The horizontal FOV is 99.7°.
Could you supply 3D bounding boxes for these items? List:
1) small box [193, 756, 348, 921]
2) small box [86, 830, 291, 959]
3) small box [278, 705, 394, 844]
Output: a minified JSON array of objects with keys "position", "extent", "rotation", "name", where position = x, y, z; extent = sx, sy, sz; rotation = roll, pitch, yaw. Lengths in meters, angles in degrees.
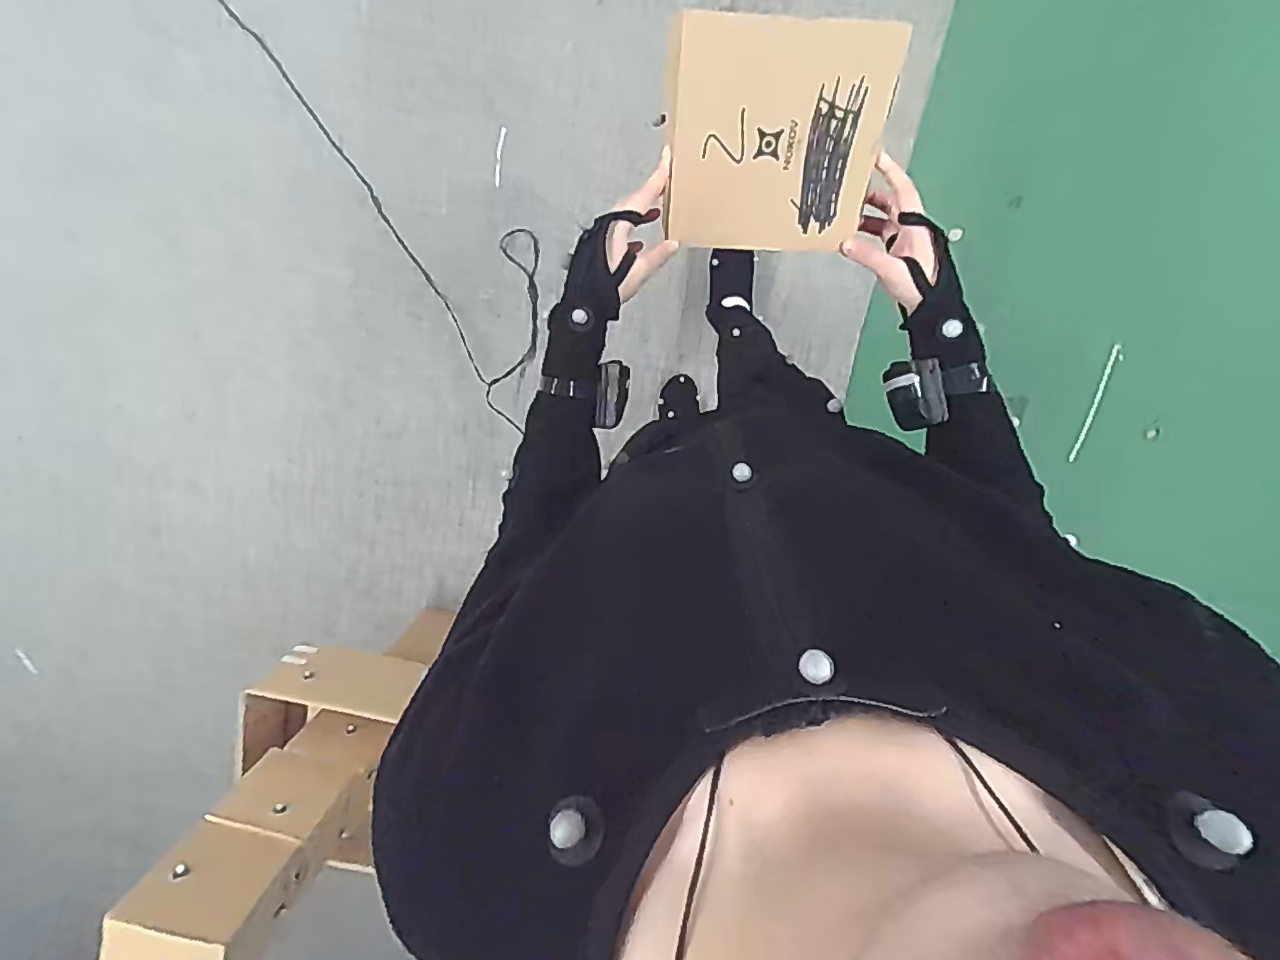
[{"position":[-0.670,0.642,0.988],"extent":[0.179,0.176,0.168],"rotation":[16,101,0],"name":"small box"},{"position":[-0.685,0.682,0.830],"extent":[0.179,0.176,0.168],"rotation":[16,102,-1],"name":"small box"},{"position":[-0.650,0.615,1.149],"extent":[0.168,0.176,0.179],"rotation":[18,102,-1],"name":"small box"}]
